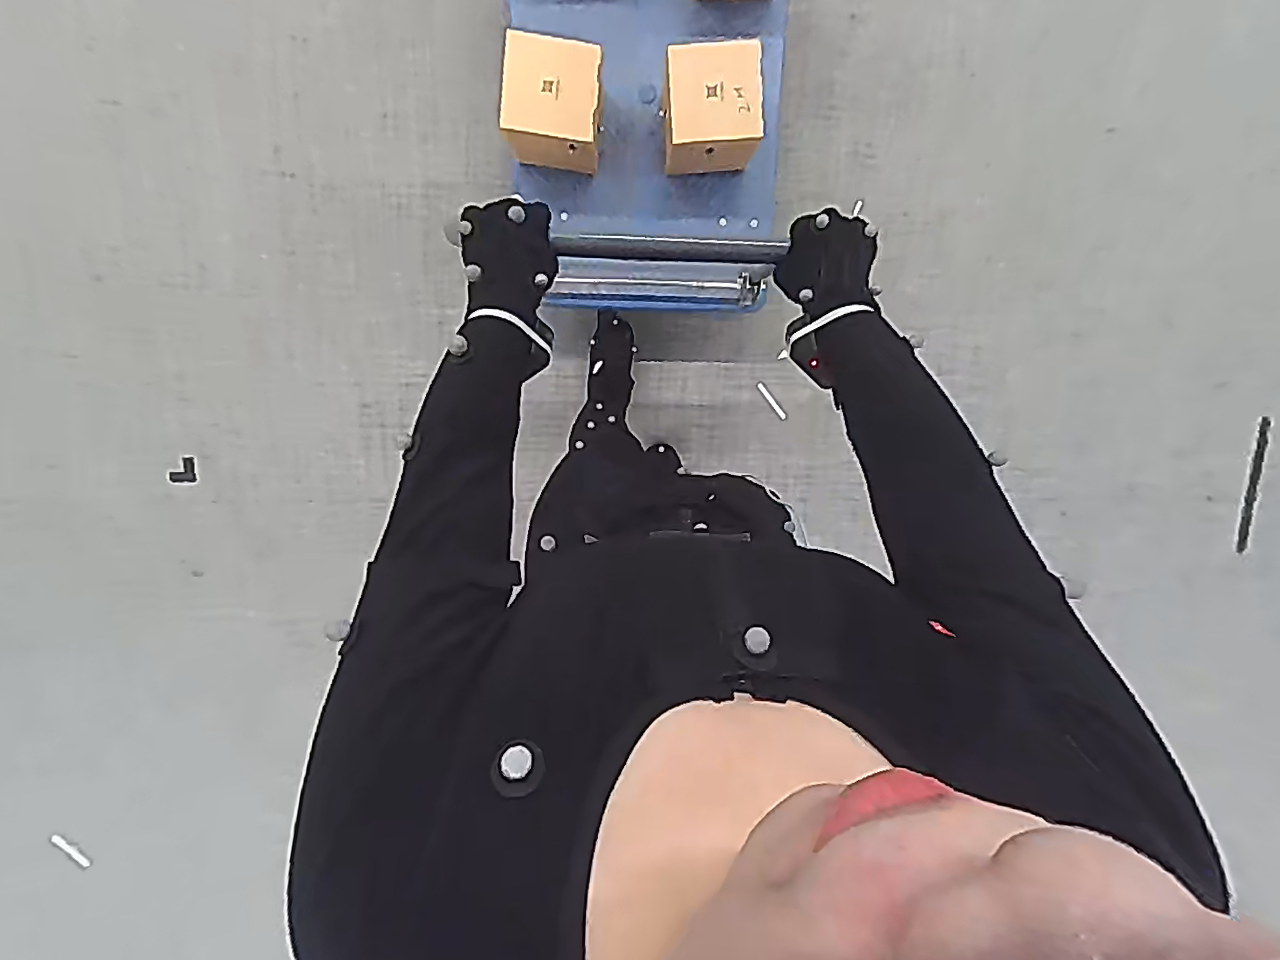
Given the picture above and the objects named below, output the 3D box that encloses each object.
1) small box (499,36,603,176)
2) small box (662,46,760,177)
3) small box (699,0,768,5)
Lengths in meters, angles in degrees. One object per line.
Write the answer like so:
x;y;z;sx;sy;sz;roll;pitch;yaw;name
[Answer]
-0.171;-0.733;1.080;0.179;0.176;0.168;7;101;-5;small box
0.136;-0.730;1.090;0.179;0.176;0.168;-4;101;-1;small box
0.191;-1.057;1.026;0.168;0.176;0.179;-2;102;-1;small box
